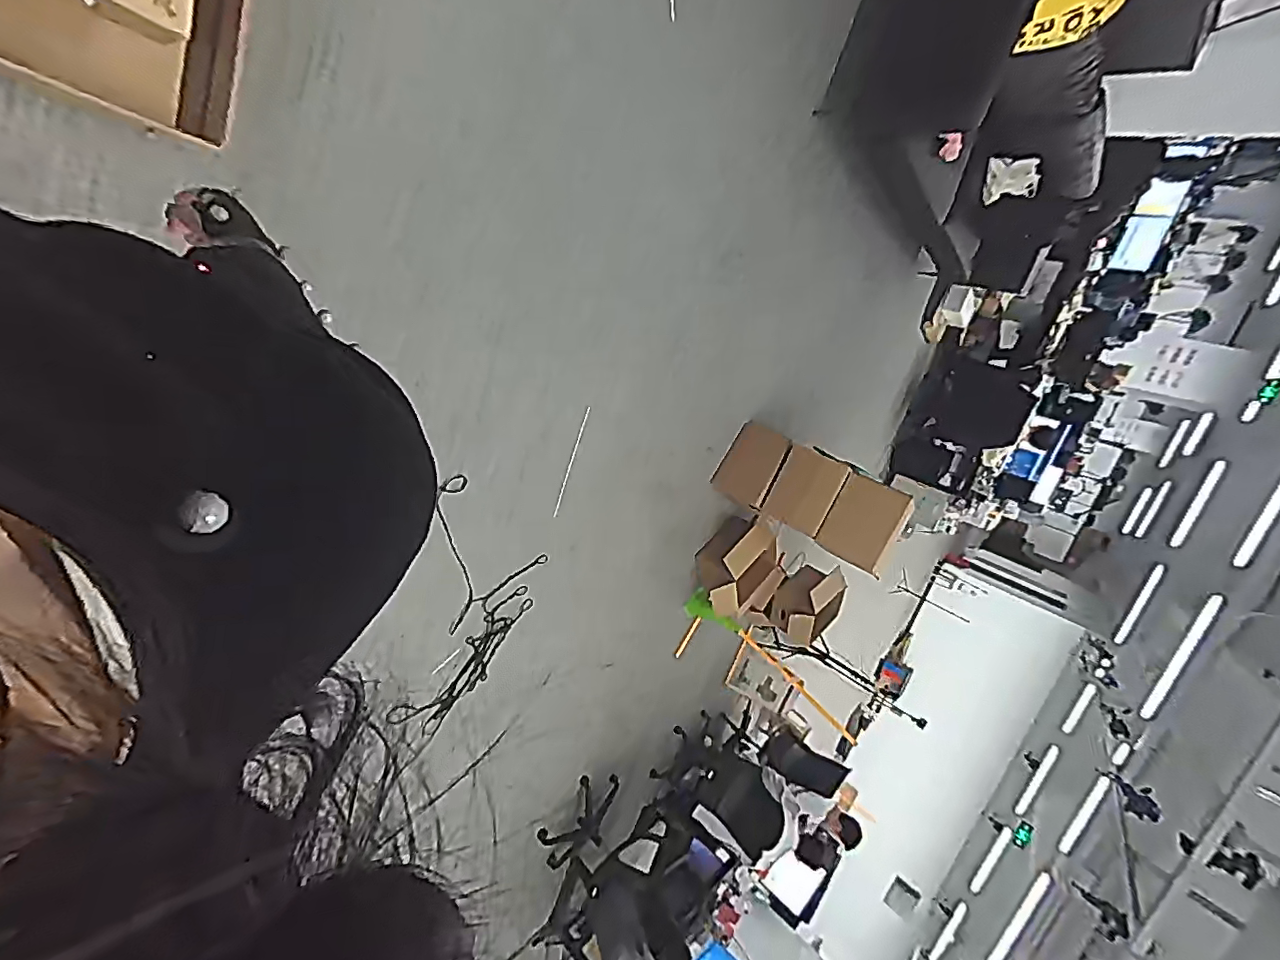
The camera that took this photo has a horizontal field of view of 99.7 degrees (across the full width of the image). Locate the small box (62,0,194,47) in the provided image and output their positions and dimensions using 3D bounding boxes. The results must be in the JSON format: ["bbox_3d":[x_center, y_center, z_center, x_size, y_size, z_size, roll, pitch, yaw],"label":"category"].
[{"bbox_3d":[-0.717,-0.731,0.726,0.168,0.176,0.179,2,111,-50],"label":"small box"}]
